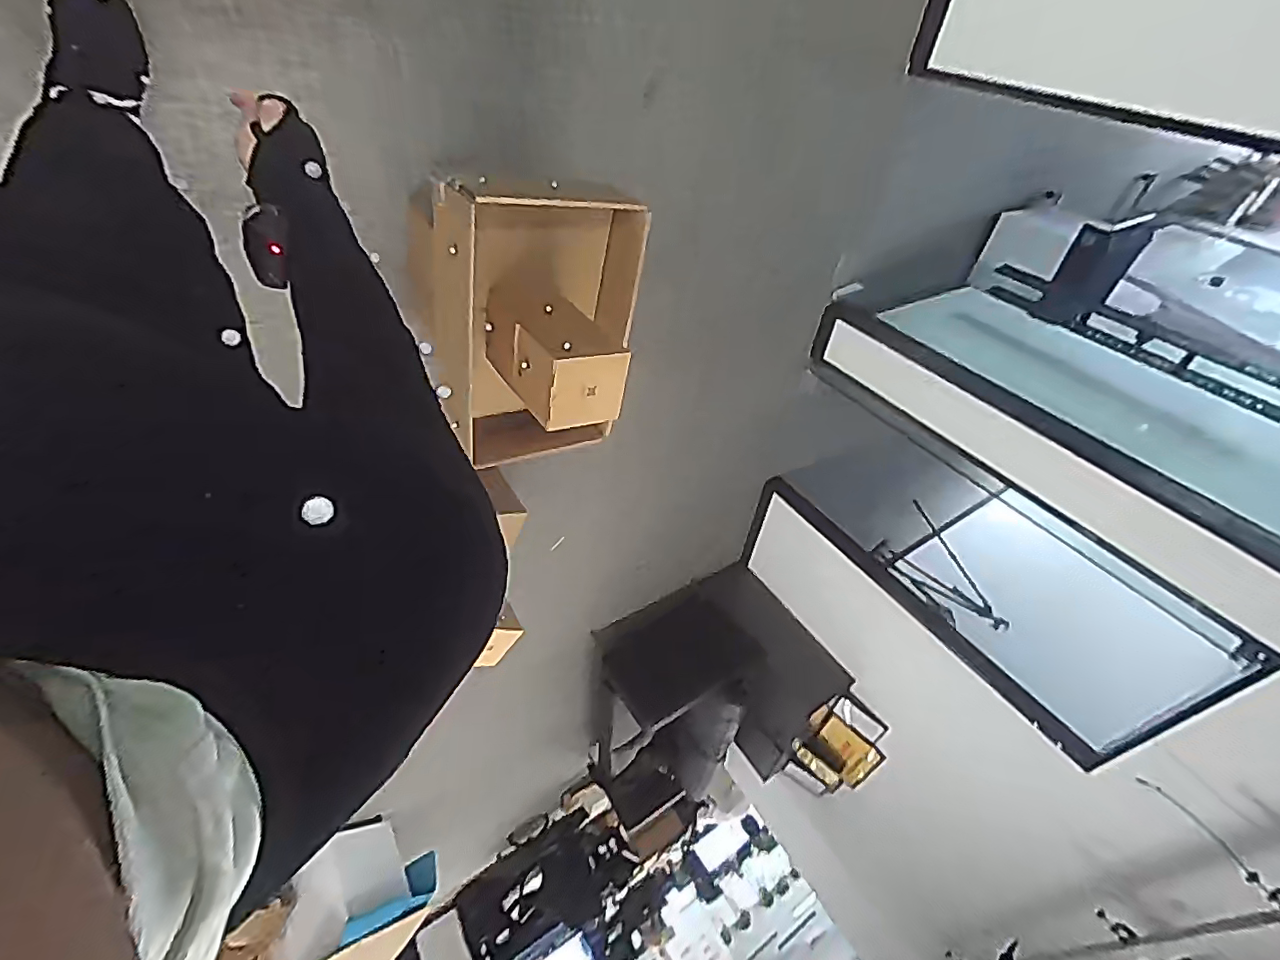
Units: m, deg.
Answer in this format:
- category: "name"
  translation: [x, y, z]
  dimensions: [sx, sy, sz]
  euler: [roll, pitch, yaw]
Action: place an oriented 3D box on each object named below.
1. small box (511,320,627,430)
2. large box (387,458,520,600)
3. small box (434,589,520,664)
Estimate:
- category: "small box"
  translation: [-0.156, -0.231, 1.154]
  dimensions: [0.179, 0.176, 0.168]
  euler: [-15, 136, -33]
- category: "large box"
  translation: [-0.690, 0.170, 1.966]
  dimensions: [0.320, 0.320, 0.408]
  euler: [-2, 128, -44]
- category: "small box"
  translation: [-0.521, 0.465, 1.723]
  dimensions: [0.168, 0.176, 0.179]
  euler: [-50, 143, 11]
